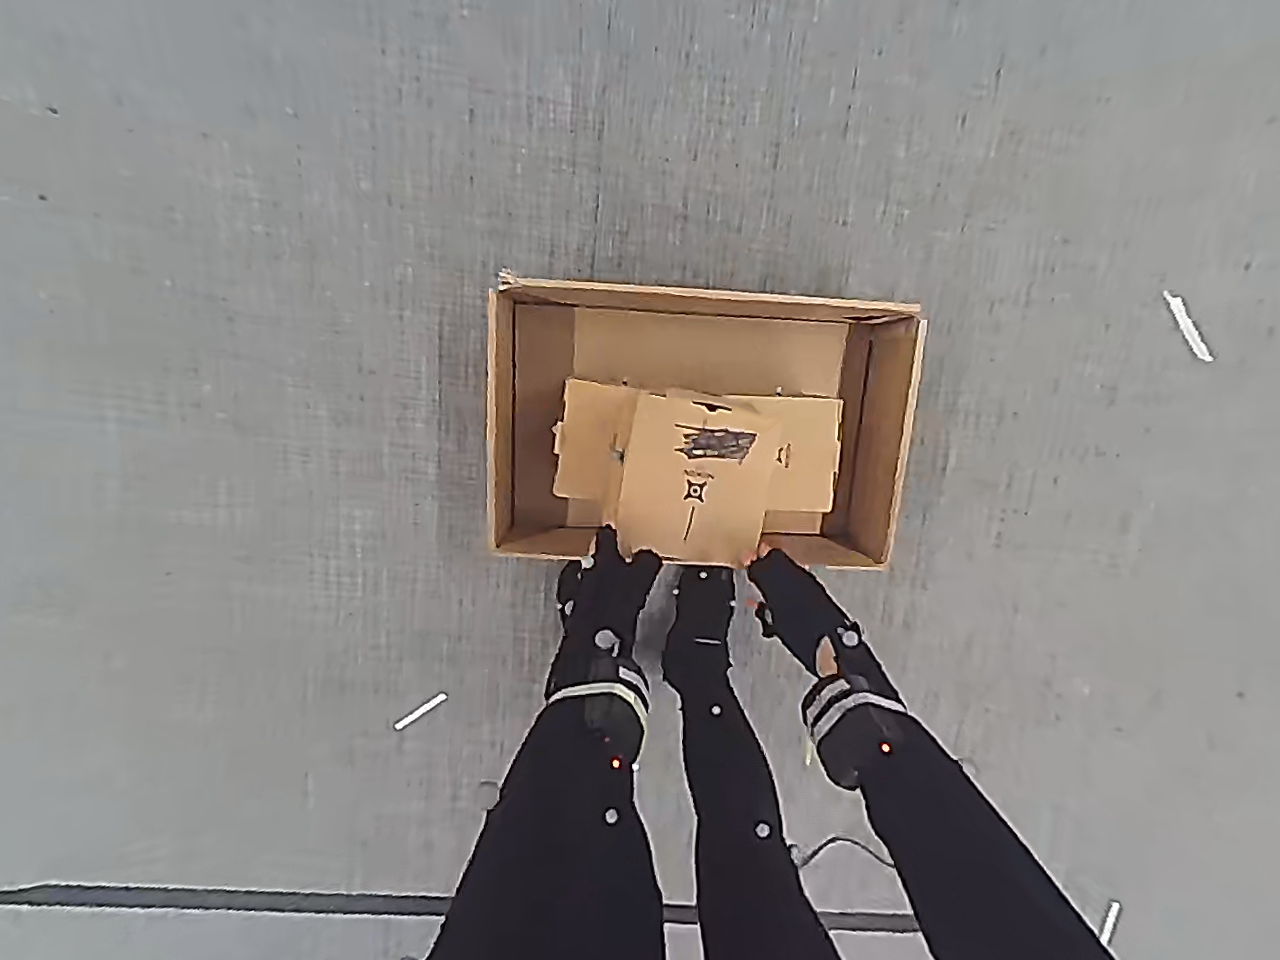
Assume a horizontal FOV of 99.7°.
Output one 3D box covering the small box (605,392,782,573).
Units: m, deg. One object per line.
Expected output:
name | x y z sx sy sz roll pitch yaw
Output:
small box | 0.054 0.000 0.673 0.168 0.176 0.179 11 93 -8
